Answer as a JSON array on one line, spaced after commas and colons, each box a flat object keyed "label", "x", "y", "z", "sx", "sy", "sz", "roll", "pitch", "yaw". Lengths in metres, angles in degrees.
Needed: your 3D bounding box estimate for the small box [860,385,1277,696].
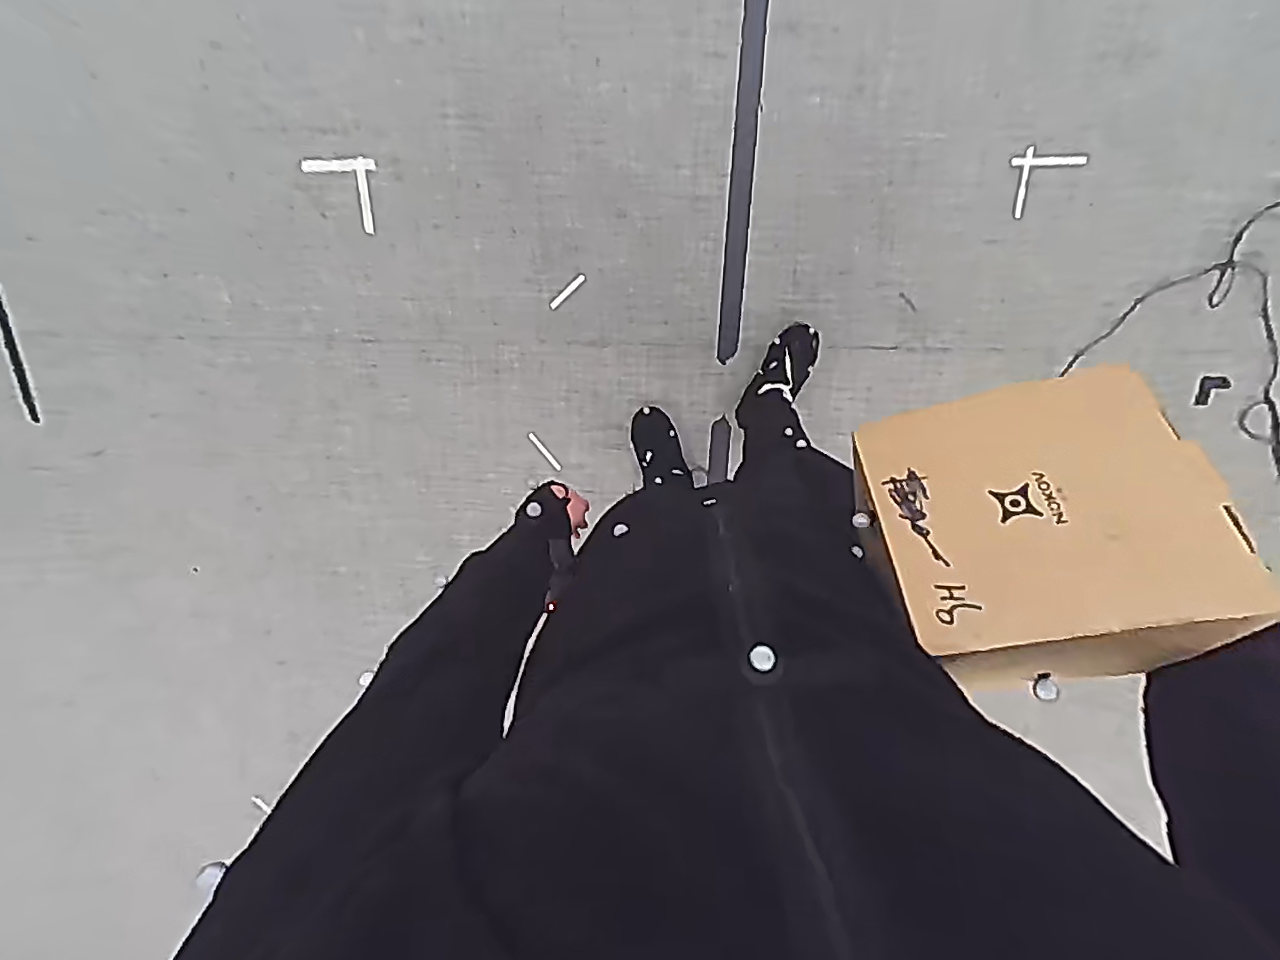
[{"label": "small box", "x": 0.275, "y": 0.060, "z": 0.409, "sx": 0.179, "sy": 0.168, "sz": 0.176, "roll": -13, "pitch": 148, "yaw": 16}]
